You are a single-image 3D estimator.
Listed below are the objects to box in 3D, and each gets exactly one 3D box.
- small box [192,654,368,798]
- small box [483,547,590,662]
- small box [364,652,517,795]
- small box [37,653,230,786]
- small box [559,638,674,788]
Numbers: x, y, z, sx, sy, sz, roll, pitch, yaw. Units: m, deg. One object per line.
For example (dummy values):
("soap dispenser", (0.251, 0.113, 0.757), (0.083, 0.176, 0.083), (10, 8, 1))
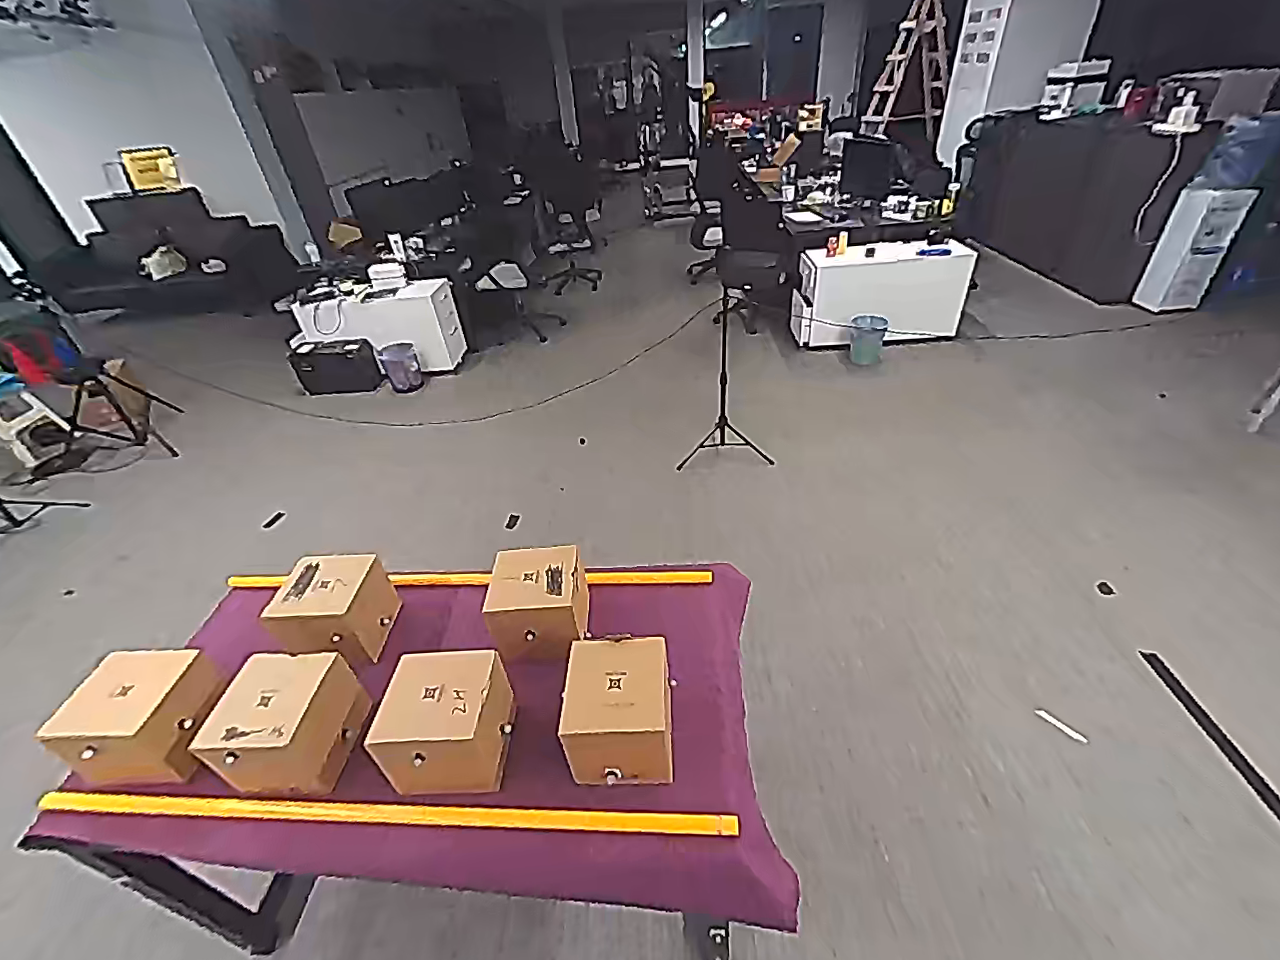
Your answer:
("small box", (-0.613, 0.431, 0.954), (0.168, 0.176, 0.179), (-4, 36, 6))
("small box", (-0.204, 0.260, 1.126), (0.179, 0.176, 0.168), (-5, 37, 3))
("small box", (-0.328, 0.418, 0.929), (0.179, 0.176, 0.168), (-4, 35, 4))
("small box", (-0.892, 0.436, 0.987), (0.179, 0.176, 0.168), (-3, 36, 4))
("small box", (-0.031, 0.393, 0.919), (0.168, 0.176, 0.179), (-4, 34, 5))
